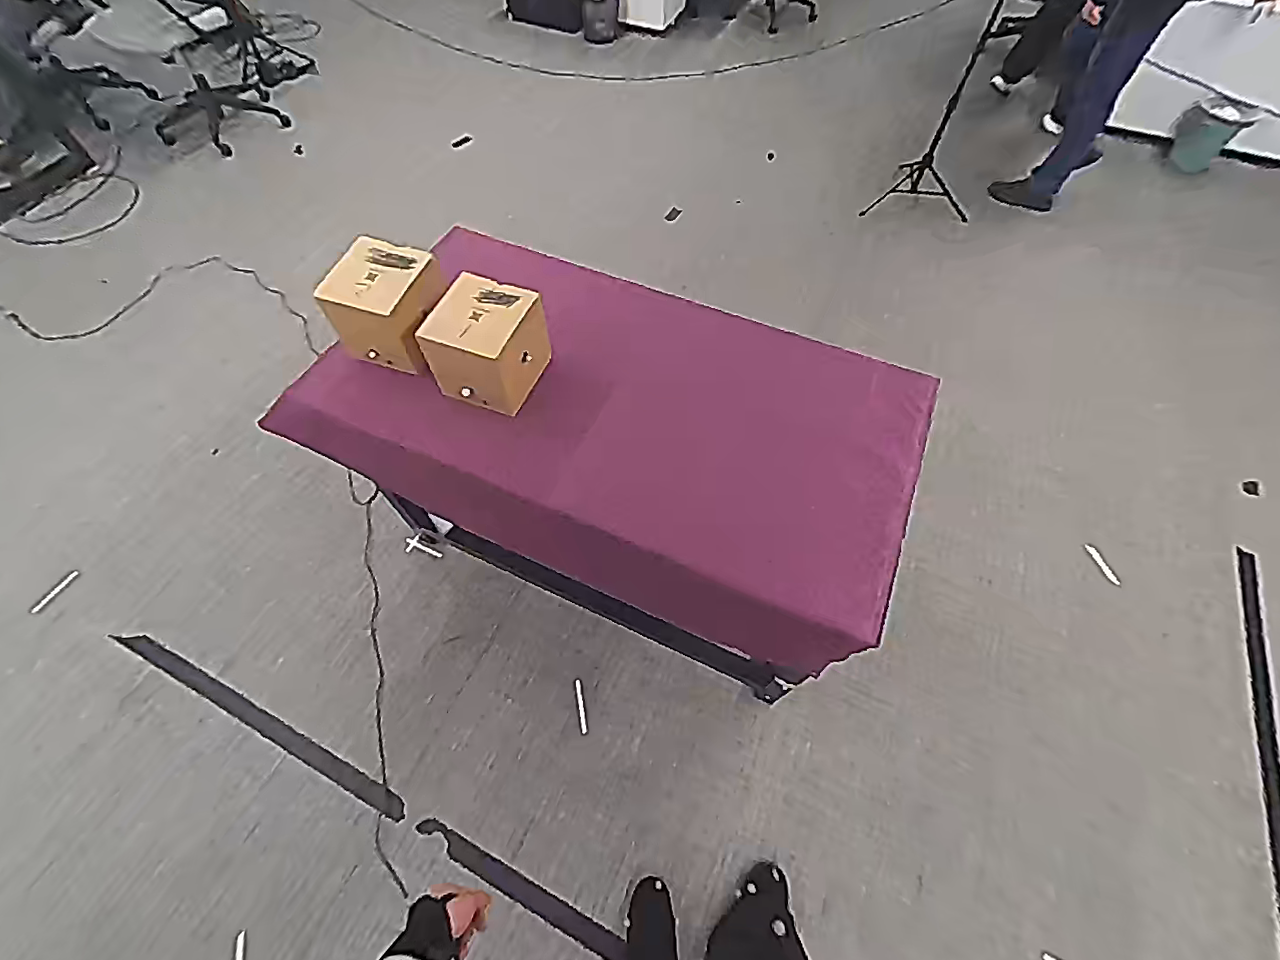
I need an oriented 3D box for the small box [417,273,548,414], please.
[{"bbox_3d":[-0.289,-0.260,1.044,0.168,0.176,0.179,18,62,10],"label":"small box"}]
